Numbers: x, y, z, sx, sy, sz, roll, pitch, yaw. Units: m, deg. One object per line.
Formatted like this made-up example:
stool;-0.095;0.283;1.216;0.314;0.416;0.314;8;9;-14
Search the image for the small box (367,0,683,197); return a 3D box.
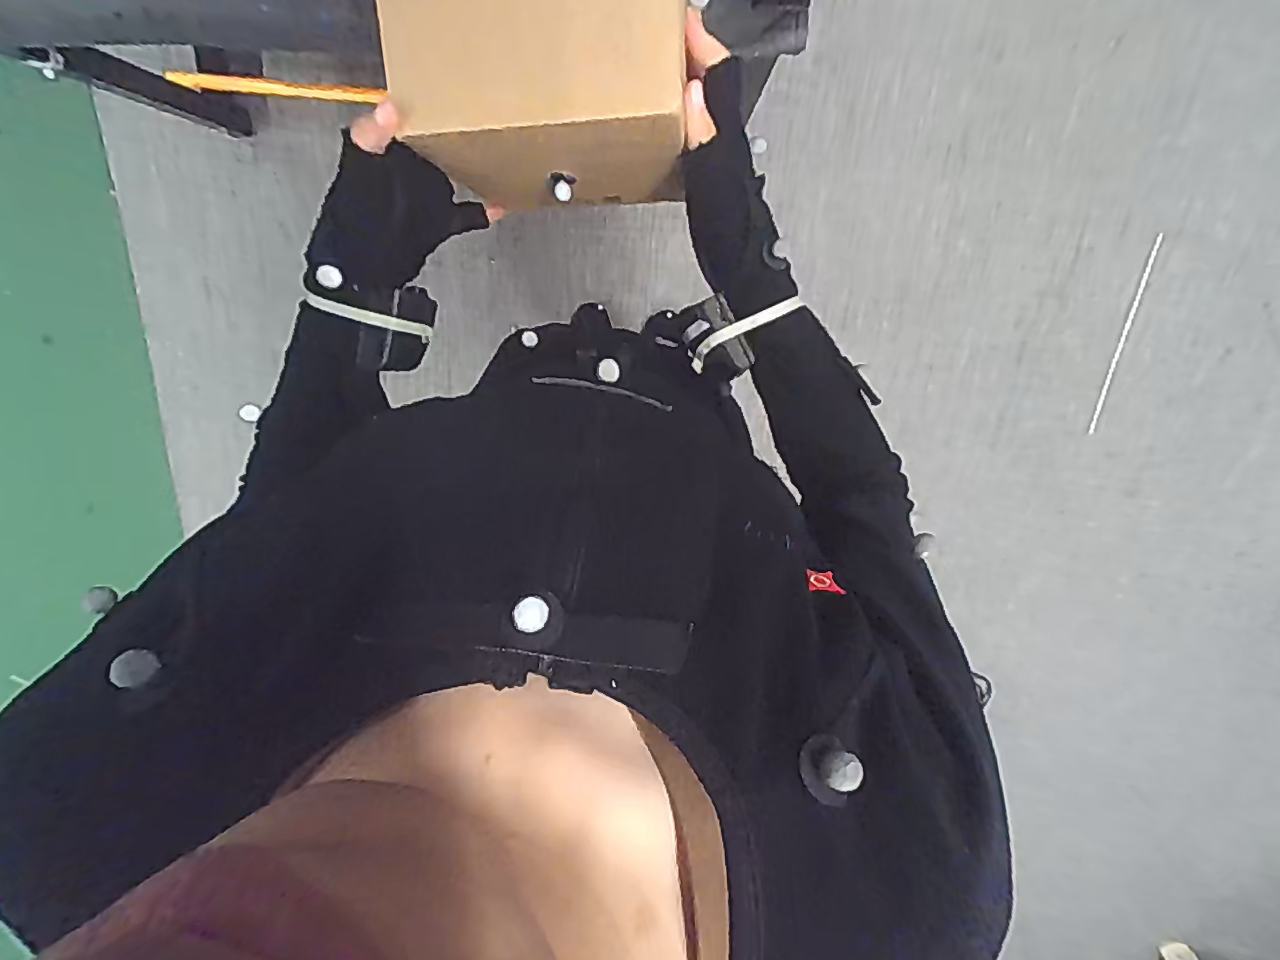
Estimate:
small box;-0.057;-0.299;0.355;0.168;0.176;0.179;0;103;6
